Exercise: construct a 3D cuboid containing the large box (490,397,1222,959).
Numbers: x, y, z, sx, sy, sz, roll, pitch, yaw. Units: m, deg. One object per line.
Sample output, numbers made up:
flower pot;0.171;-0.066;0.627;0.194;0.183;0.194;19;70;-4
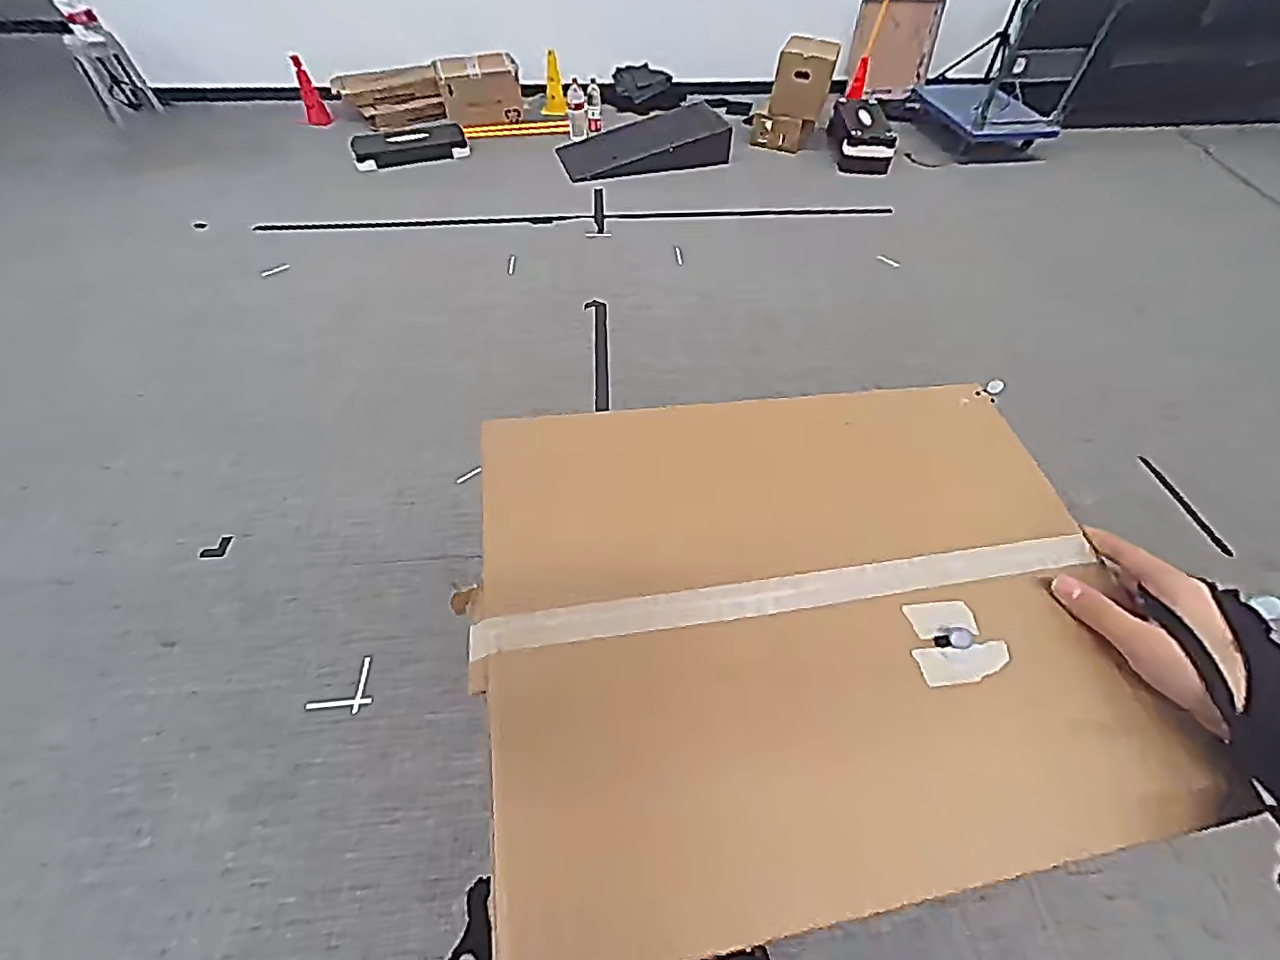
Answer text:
large box;0.096;0.156;0.471;0.408;0.320;0.320;-5;58;-11
